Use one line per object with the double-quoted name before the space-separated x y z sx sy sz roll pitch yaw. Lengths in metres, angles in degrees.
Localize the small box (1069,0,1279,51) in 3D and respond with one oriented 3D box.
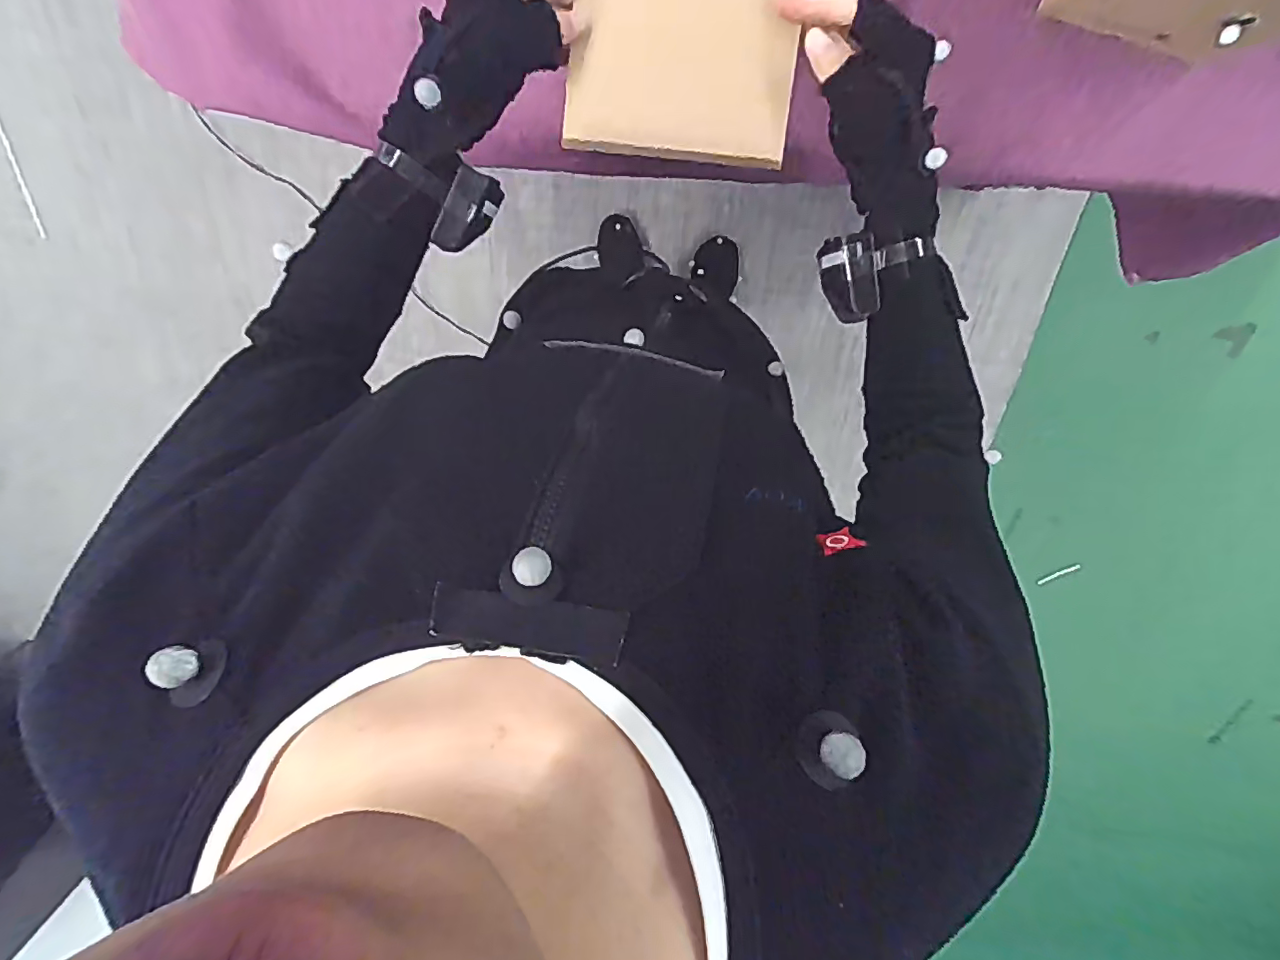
"small box" 0.458 -0.448 0.387 0.168 0.176 0.179 16 117 -3
